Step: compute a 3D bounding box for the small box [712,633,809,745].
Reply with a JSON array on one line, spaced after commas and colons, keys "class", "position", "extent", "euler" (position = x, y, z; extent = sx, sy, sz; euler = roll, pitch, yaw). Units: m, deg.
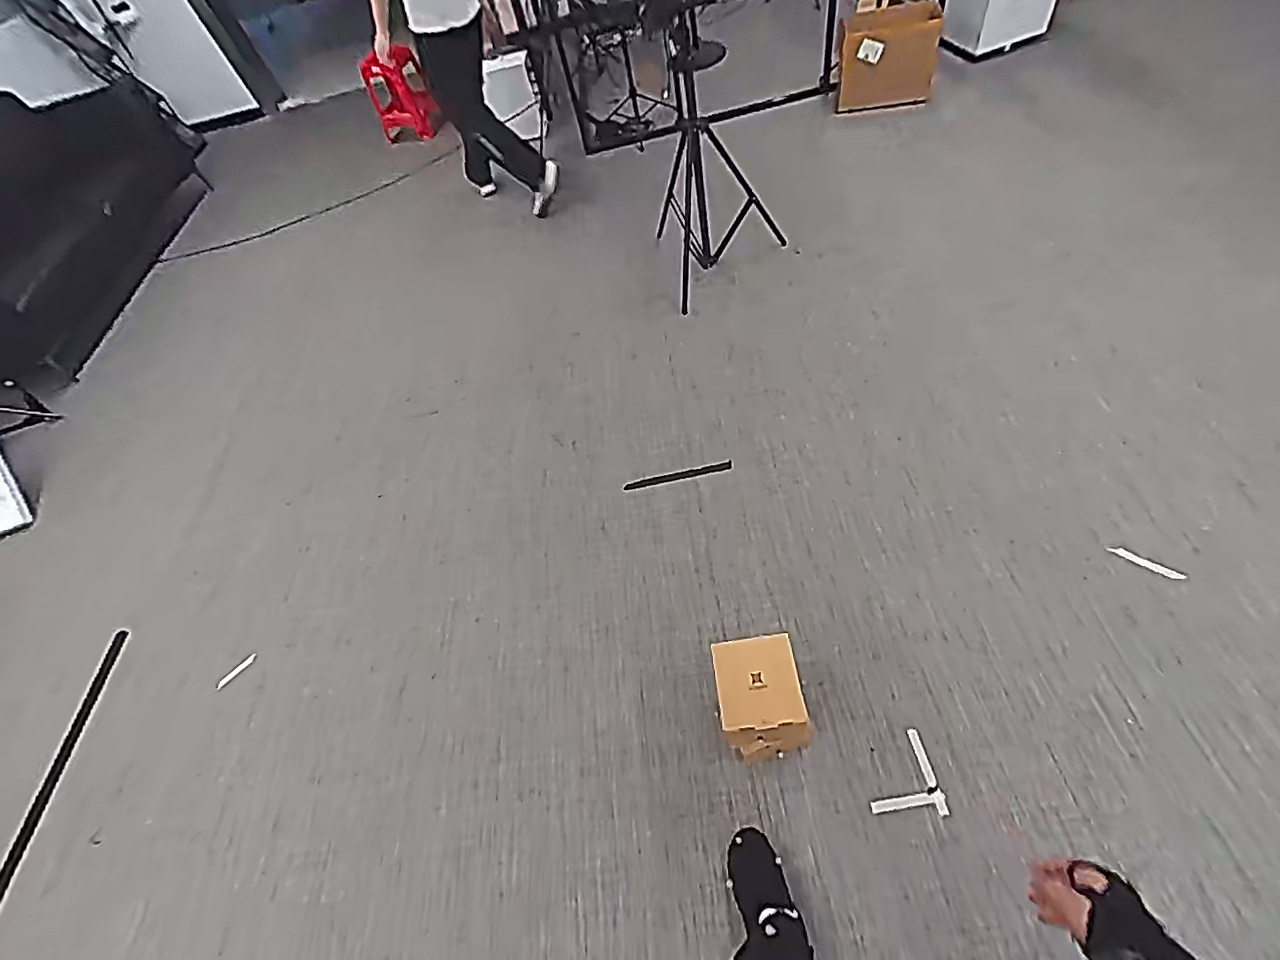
[{"class": "small box", "position": [0.250, 0.446, 1.145], "extent": [0.168, 0.176, 0.179], "euler": [-10, 54, 6]}]

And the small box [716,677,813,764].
[{"class": "small box", "position": [0.288, 0.542, 1.272], "extent": [0.168, 0.176, 0.179], "euler": [-21, 54, -1]}]
